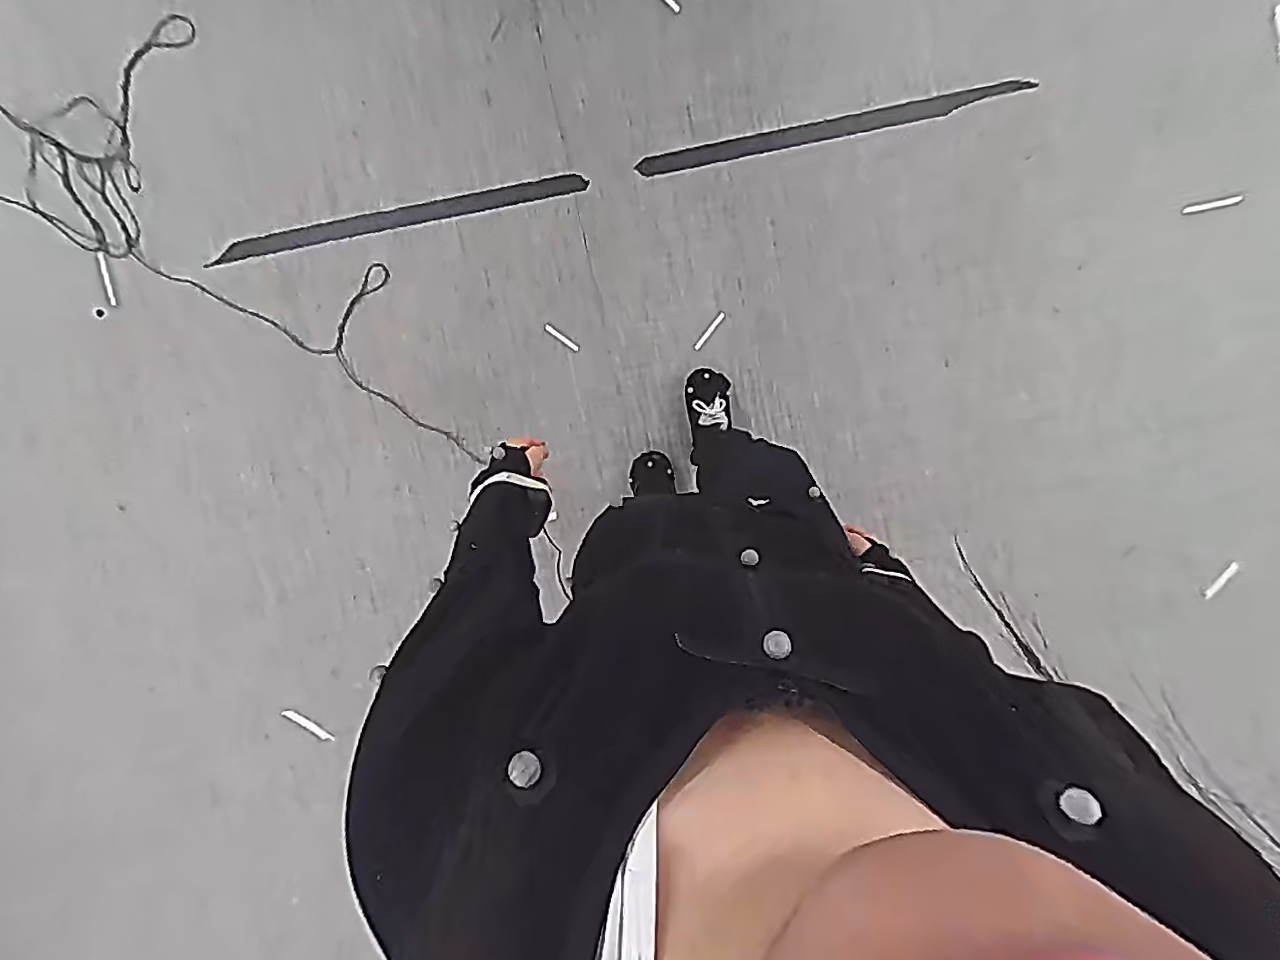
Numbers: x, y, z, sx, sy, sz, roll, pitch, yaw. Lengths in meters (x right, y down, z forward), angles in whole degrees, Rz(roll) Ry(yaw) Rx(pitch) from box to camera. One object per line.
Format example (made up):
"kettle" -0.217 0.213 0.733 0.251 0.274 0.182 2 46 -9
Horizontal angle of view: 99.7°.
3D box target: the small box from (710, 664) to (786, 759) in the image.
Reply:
"small box" 0.287 0.609 1.448 0.168 0.176 0.179 -10 95 2
